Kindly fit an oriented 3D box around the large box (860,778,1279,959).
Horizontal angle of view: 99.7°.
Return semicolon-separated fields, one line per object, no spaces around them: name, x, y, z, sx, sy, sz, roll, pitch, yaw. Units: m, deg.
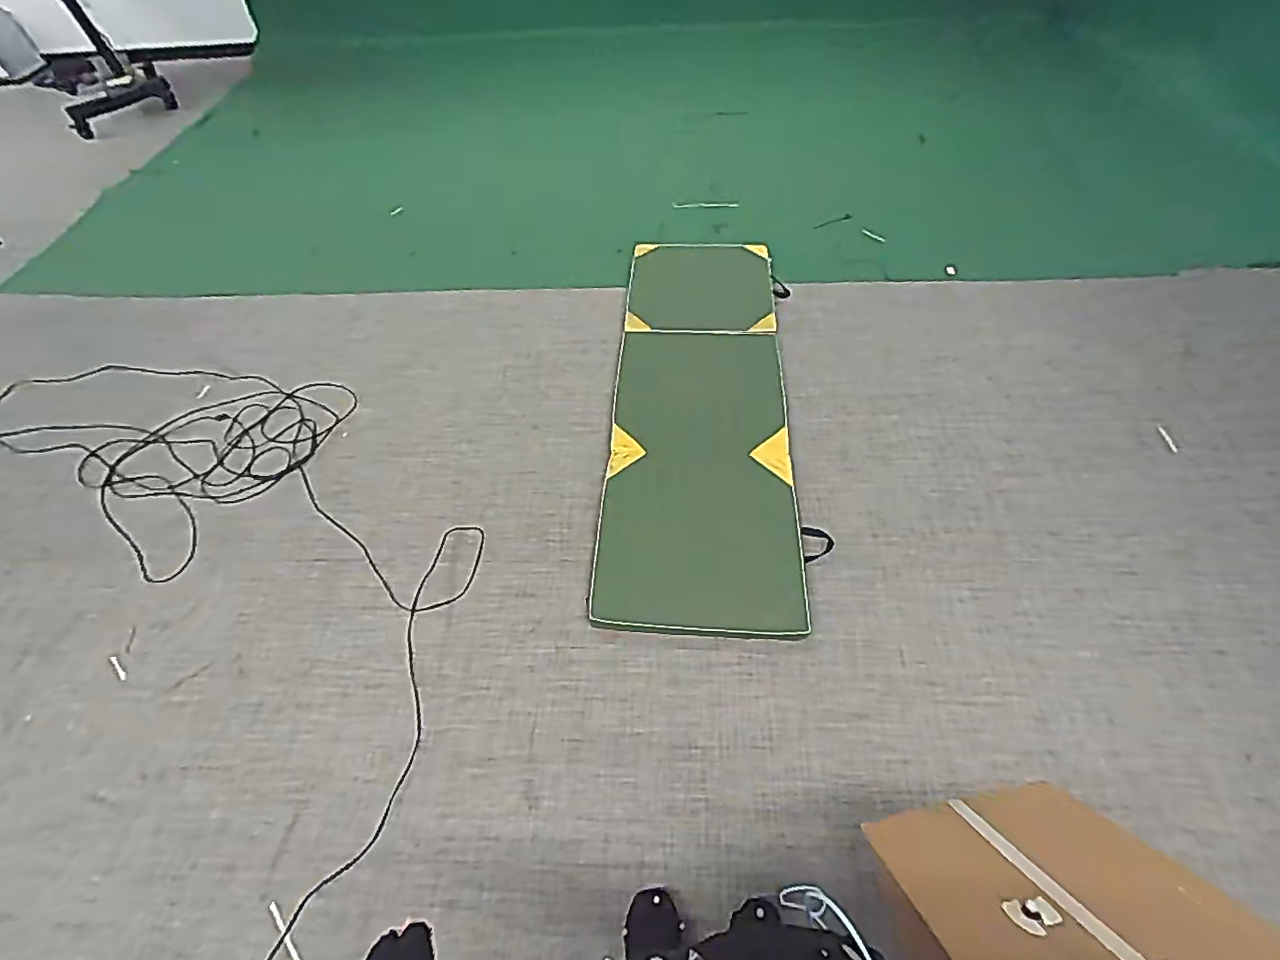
large box;0.533;0.642;0.668;0.320;0.408;0.320;-14;83;0
